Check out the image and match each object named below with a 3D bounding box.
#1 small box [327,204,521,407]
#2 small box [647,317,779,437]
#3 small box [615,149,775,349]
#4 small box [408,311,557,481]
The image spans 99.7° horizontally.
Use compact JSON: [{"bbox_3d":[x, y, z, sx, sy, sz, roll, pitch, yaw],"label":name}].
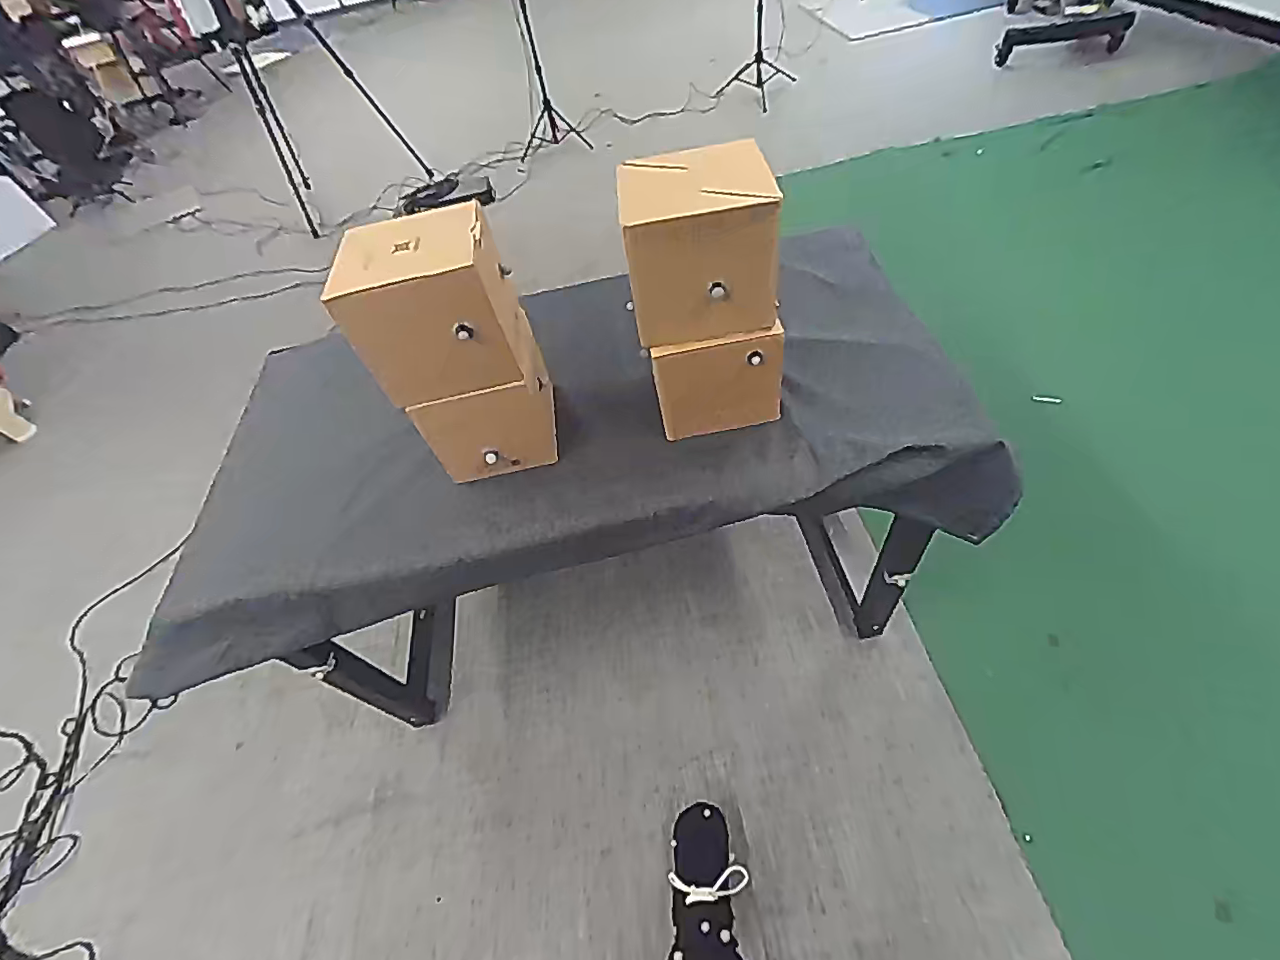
[{"bbox_3d":[-0.260,-0.221,0.702,0.179,0.176,0.168,-14,50,2],"label":"small box"},{"bbox_3d":[0.102,-0.184,0.815,0.179,0.176,0.168,-10,51,2],"label":"small box"},{"bbox_3d":[0.071,-0.297,0.693,0.179,0.176,0.168,-8,51,5],"label":"small box"},{"bbox_3d":[-0.230,-0.125,0.830,0.168,0.176,0.179,-12,52,2],"label":"small box"}]
